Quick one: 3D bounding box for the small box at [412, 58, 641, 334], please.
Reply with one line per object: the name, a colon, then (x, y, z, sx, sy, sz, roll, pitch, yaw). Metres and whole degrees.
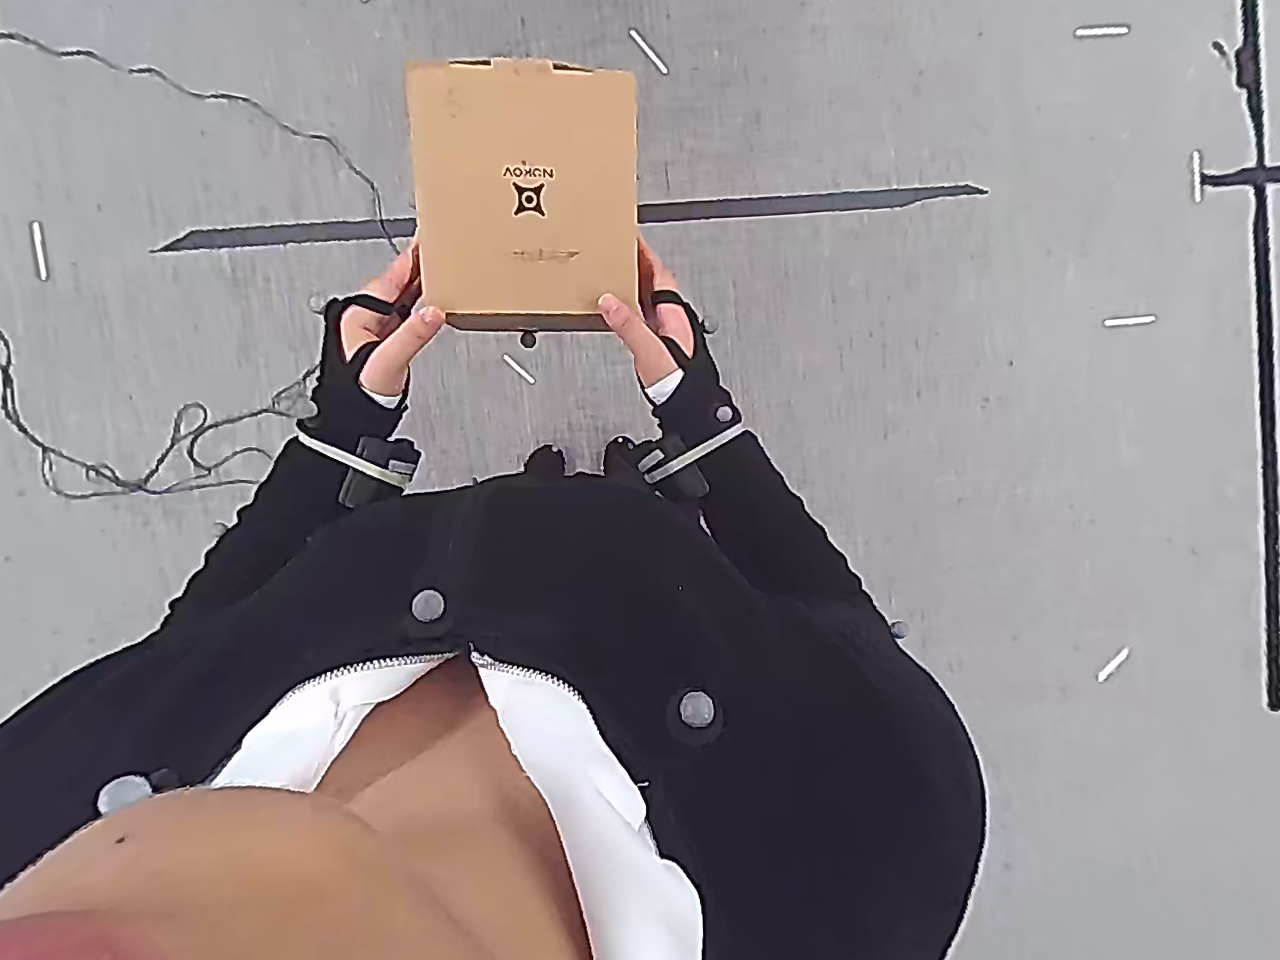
small box: (-0.093, -0.229, 0.485, 0.168, 0.176, 0.179, -3, 101, -7)
